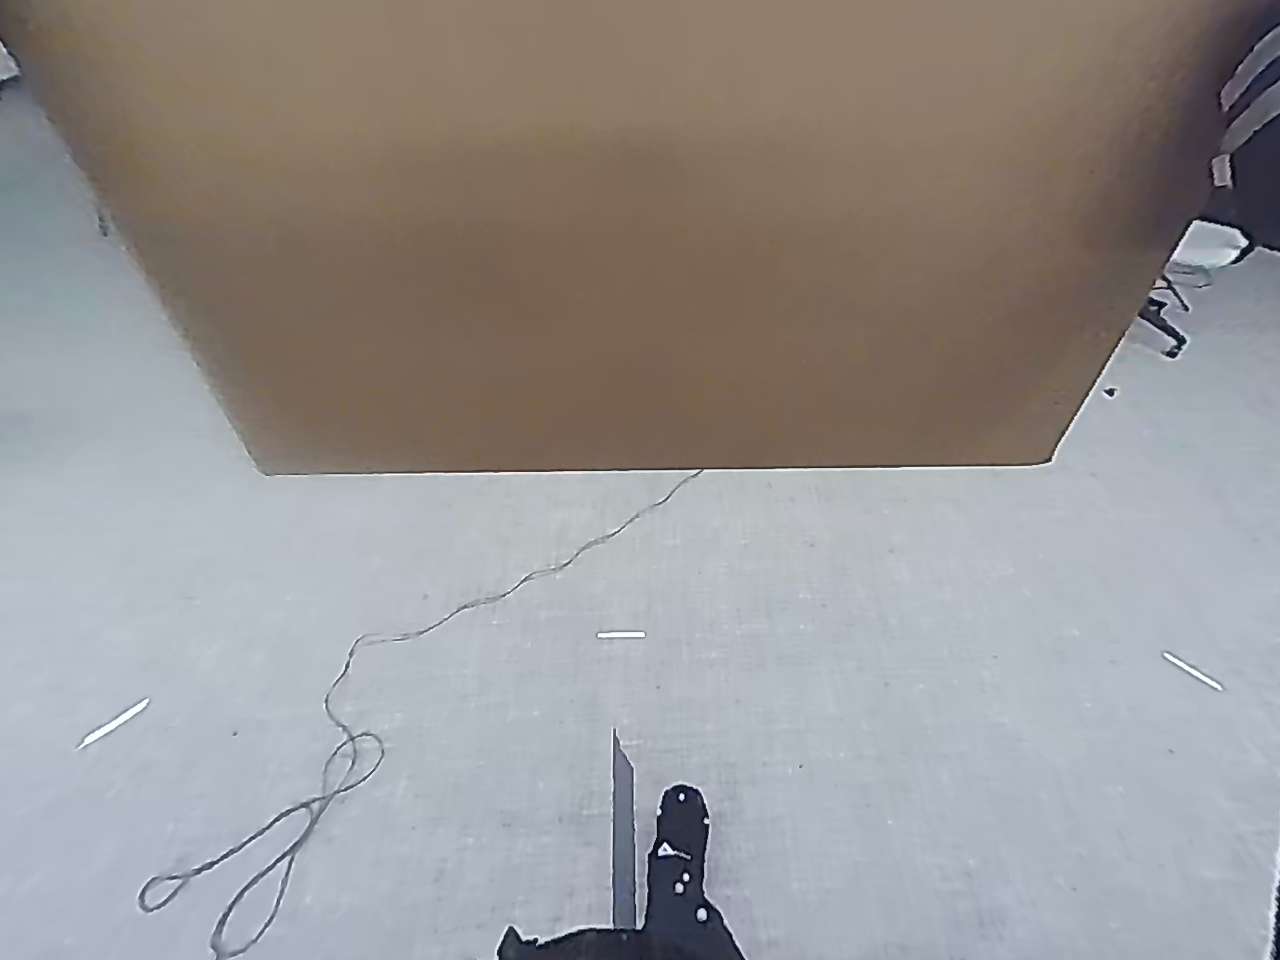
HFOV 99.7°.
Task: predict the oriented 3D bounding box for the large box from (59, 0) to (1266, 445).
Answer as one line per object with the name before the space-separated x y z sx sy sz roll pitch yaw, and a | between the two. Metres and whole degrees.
large box | 0.007 -0.229 0.305 0.408 0.320 0.320 0 40 -1
